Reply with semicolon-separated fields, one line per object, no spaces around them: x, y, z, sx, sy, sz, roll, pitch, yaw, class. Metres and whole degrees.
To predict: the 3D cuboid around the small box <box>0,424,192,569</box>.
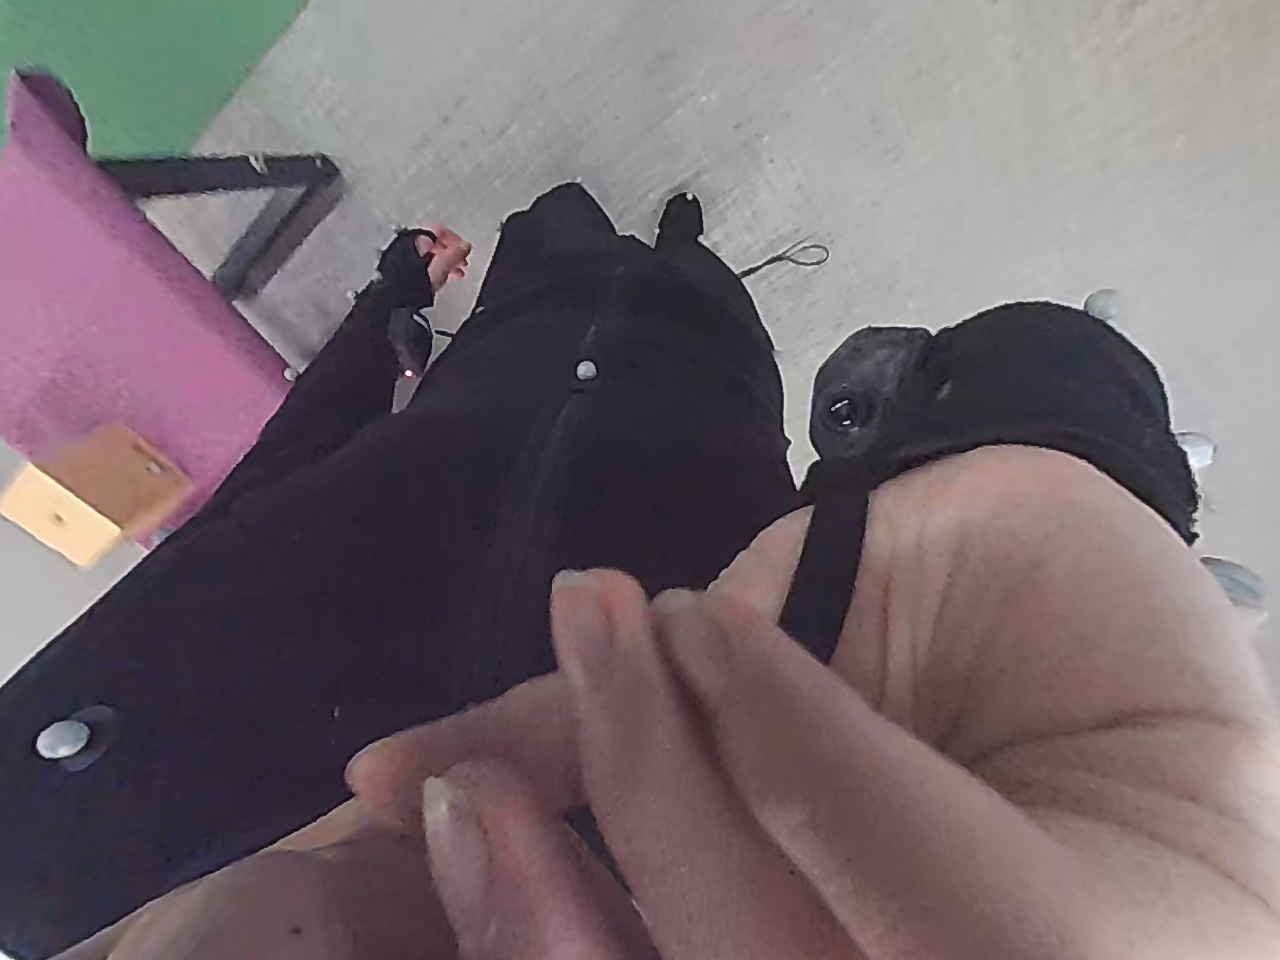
-1.001;0.027;1.008;0.179;0.176;0.168;-30;113;23;small box
